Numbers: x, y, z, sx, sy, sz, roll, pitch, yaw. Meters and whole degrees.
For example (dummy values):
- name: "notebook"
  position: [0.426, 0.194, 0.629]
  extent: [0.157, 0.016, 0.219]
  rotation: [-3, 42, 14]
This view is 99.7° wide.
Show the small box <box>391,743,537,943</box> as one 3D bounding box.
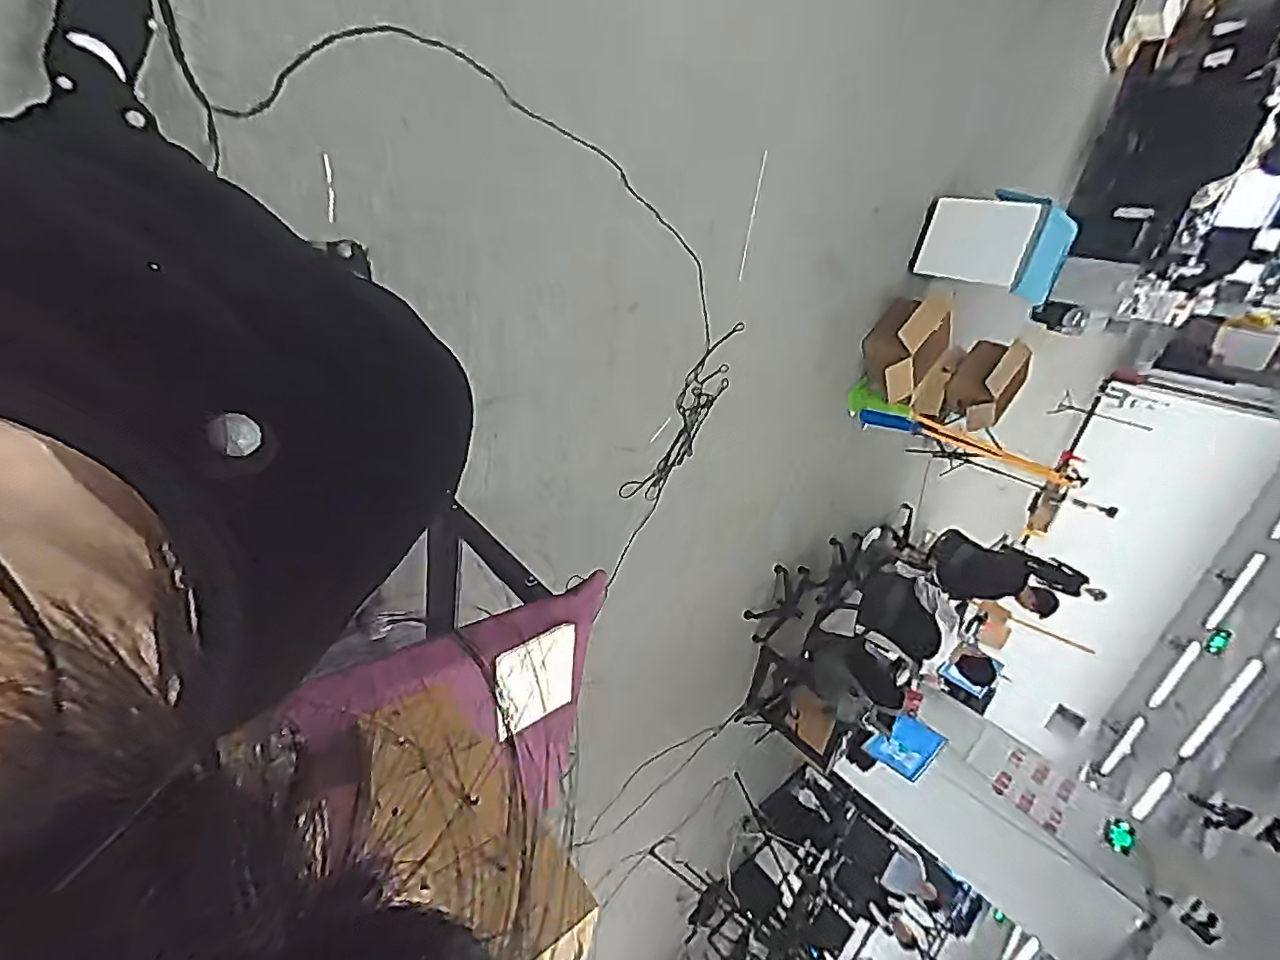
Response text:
- name: "small box"
  position: [-0.294, 0.580, 0.887]
  extent: [0.179, 0.176, 0.168]
  rotation: [-10, 121, -42]

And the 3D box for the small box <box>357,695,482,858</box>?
- name: "small box"
  position: [-0.408, 0.525, 0.992]
  extent: [0.168, 0.176, 0.179]
  rotation: [-9, 121, -42]

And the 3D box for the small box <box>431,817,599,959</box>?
- name: "small box"
  position: [-0.187, 0.645, 0.781]
  extent: [0.179, 0.176, 0.168]
  rotation: [-9, 121, -41]
